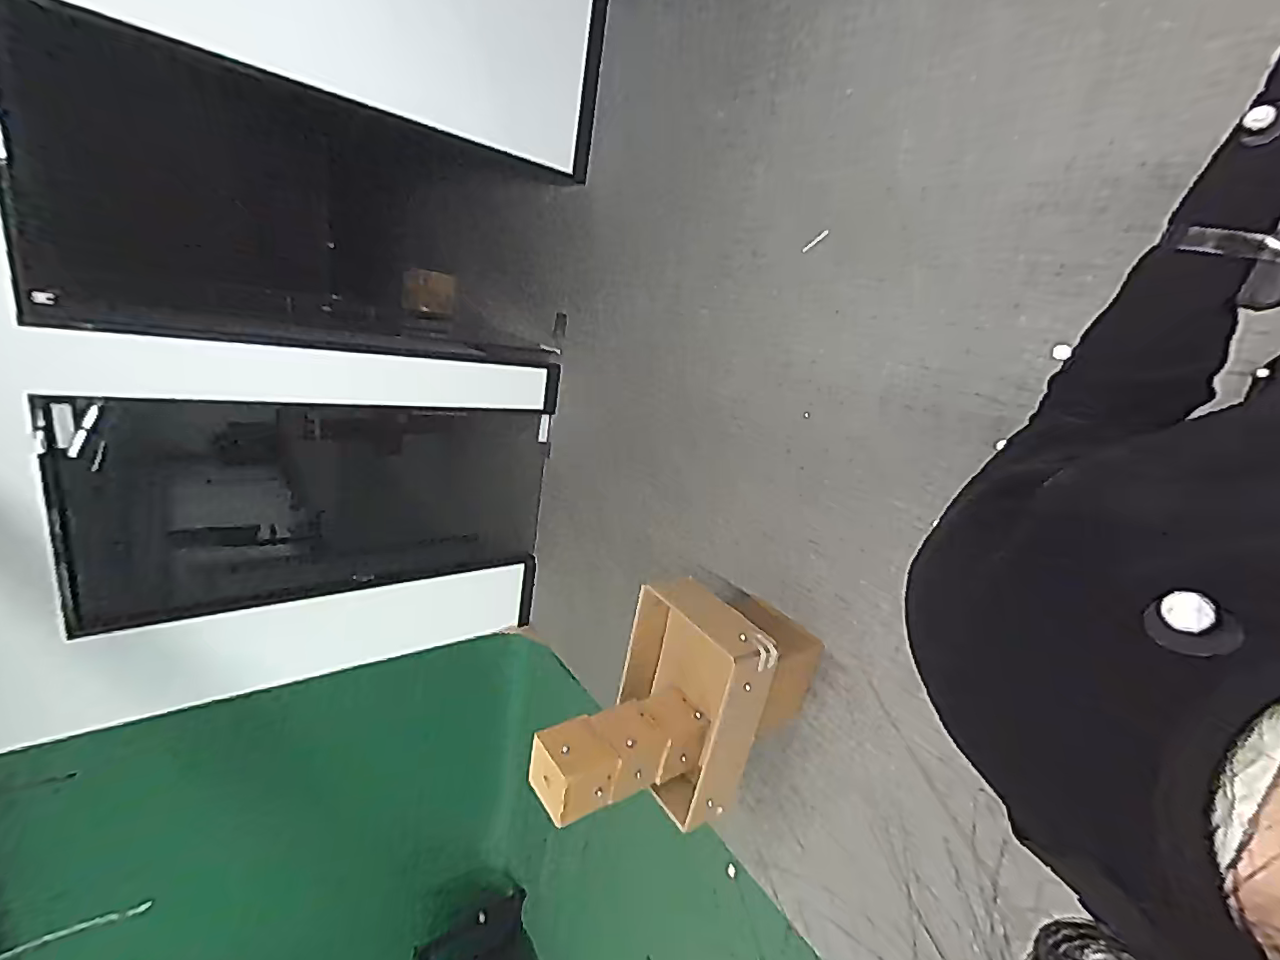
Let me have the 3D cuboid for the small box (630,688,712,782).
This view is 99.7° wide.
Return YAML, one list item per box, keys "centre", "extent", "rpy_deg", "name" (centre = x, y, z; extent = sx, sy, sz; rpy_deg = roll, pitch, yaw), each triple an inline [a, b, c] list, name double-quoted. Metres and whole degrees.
- centre: [0.099, 0.772, 1.658]
  extent: [0.168, 0.176, 0.179]
  rpy_deg: [34, 118, 46]
  name: "small box"

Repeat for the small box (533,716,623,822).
- centre: [-0.171, 0.774, 1.474]
  extent: [0.179, 0.176, 0.168]
  rpy_deg: [30, 116, 47]
  name: "small box"
